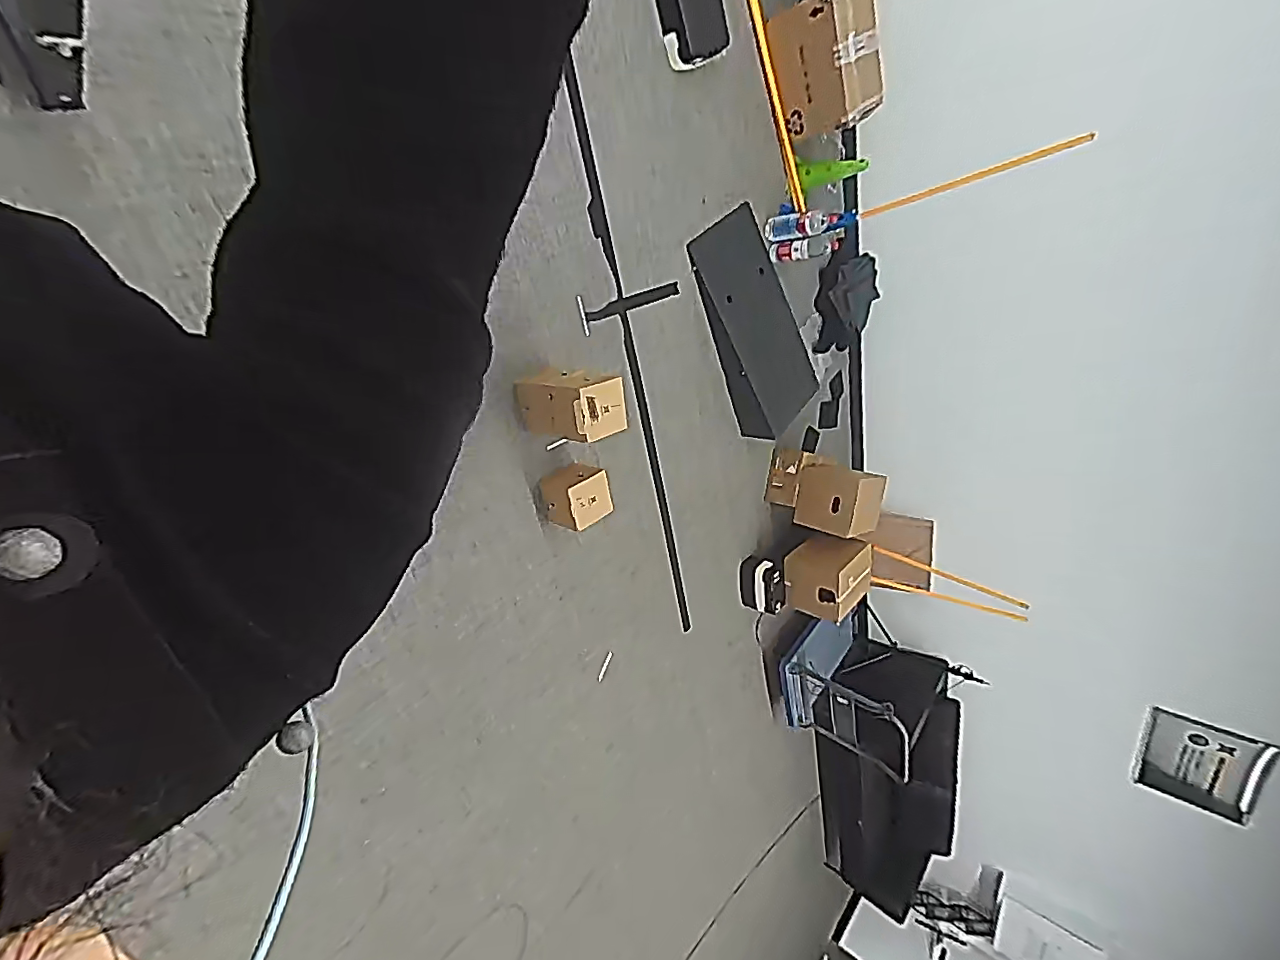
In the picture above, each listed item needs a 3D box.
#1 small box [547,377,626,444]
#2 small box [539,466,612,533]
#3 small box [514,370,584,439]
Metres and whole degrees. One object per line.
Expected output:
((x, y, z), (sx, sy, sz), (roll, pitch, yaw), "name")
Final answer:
((-0.169, -0.218, 1.658), (0.179, 0.176, 0.168), (-26, 118, -41), "small box")
((-0.228, 0.063, 1.910), (0.179, 0.176, 0.168), (-31, 120, -38), "small box")
((-0.286, -0.252, 1.770), (0.168, 0.176, 0.179), (-31, 122, -39), "small box")
